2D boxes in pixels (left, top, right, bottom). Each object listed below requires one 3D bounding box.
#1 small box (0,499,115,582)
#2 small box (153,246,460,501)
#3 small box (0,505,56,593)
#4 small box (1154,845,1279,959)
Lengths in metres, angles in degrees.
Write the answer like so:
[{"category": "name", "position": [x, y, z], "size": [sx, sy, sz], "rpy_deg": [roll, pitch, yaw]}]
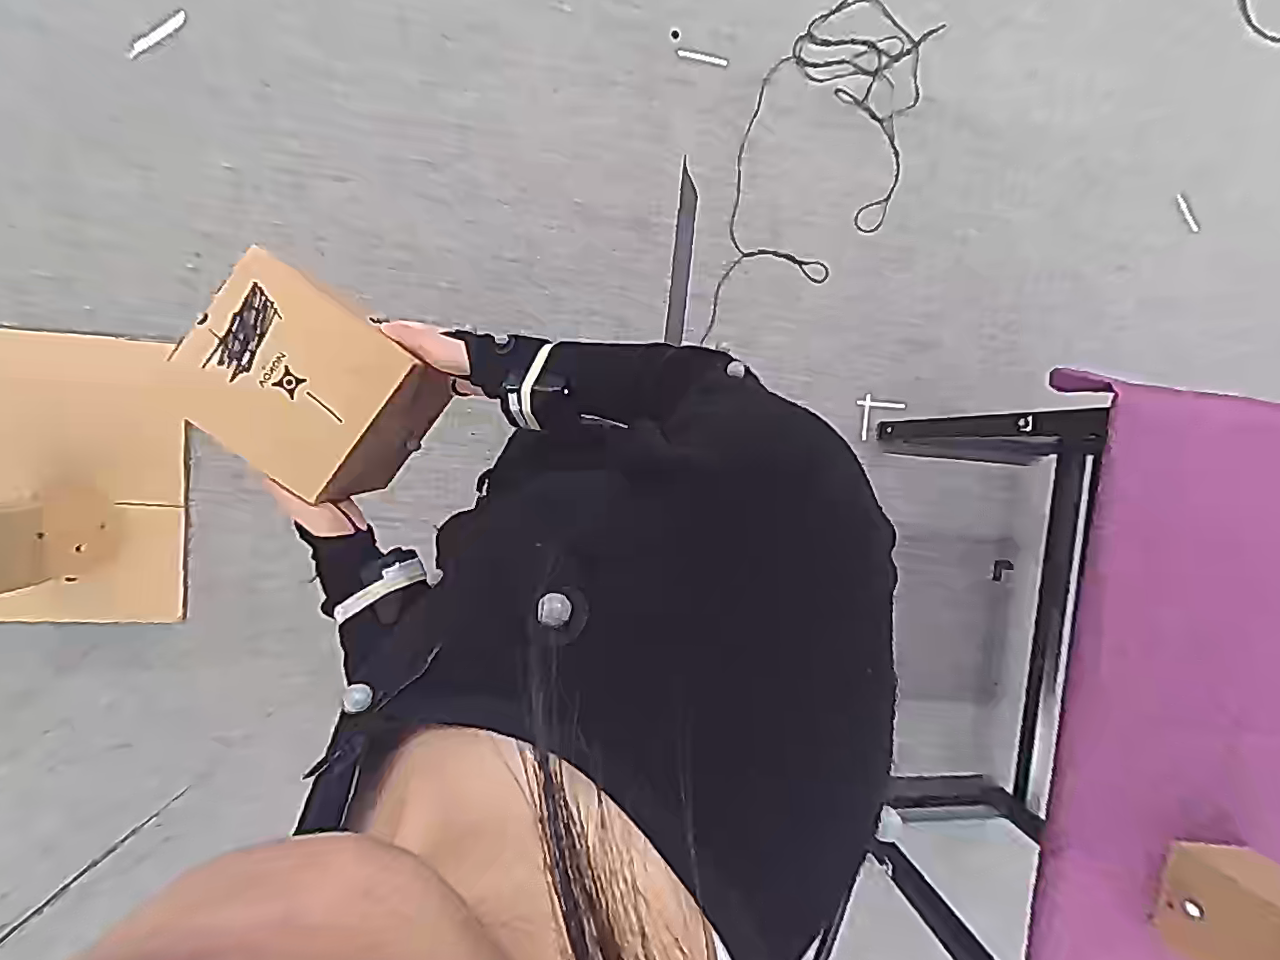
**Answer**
[{"category": "small box", "position": [-1.353, 0.132, 1.232], "size": [0.179, 0.176, 0.168], "rpy_deg": [1, 93, -8]}, {"category": "small box", "position": [-0.323, -0.098, 0.565], "size": [0.179, 0.176, 0.168], "rpy_deg": [37, 91, -5]}, {"category": "small box", "position": [-1.331, 0.141, 1.069], "size": [0.179, 0.176, 0.168], "rpy_deg": [0, 94, -8]}, {"category": "small box", "position": [1.010, 0.733, 0.880], "size": [0.179, 0.176, 0.168], "rpy_deg": [11, 91, -9]}]
